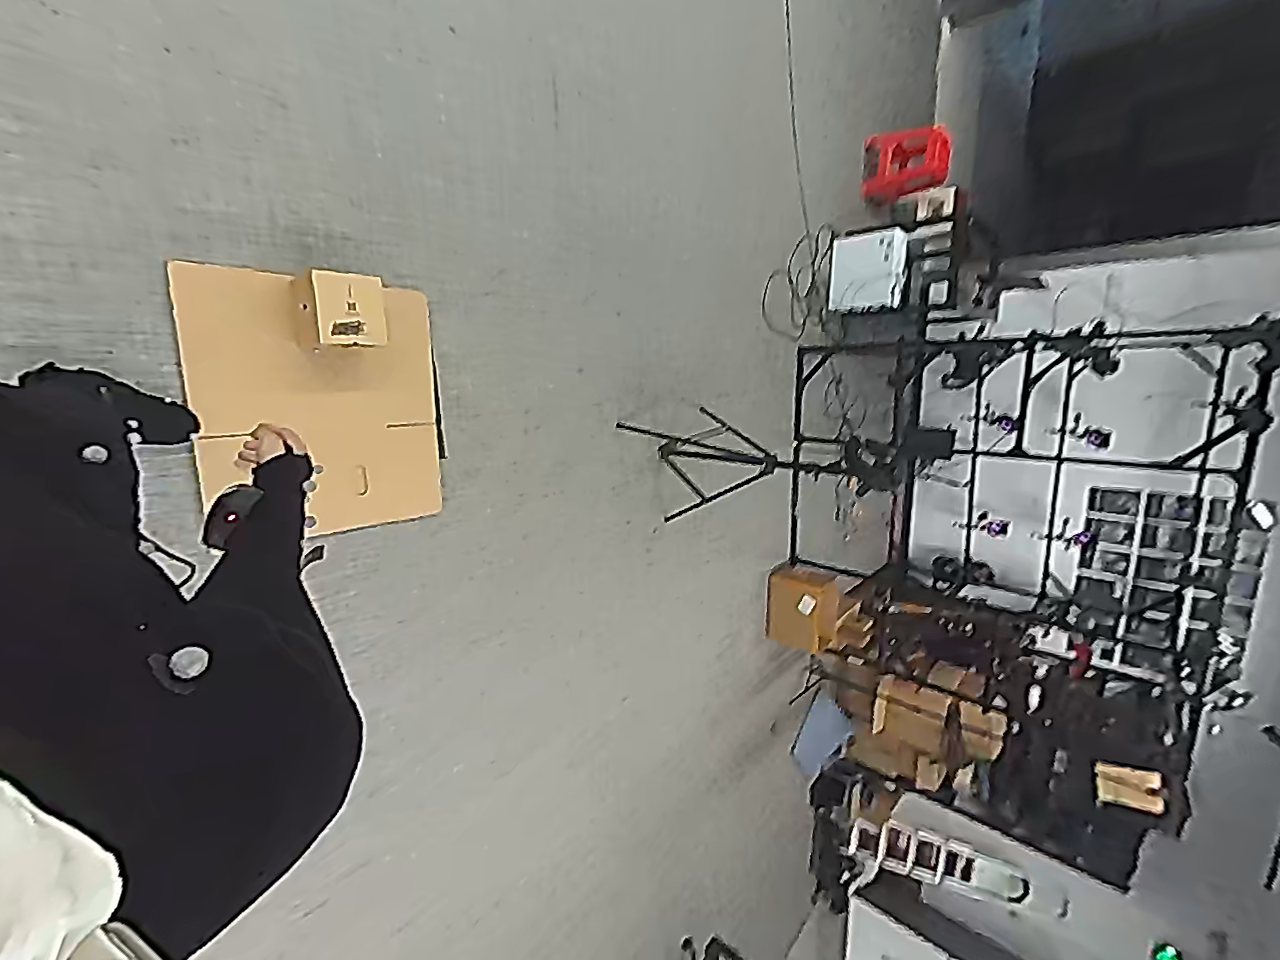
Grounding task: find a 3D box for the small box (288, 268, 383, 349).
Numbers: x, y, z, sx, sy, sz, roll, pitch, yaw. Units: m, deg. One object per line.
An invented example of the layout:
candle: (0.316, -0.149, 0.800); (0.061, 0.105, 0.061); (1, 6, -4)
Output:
small box: (-0.790, -0.436, 1.404); (0.168, 0.176, 0.179); (-11, 104, -47)
